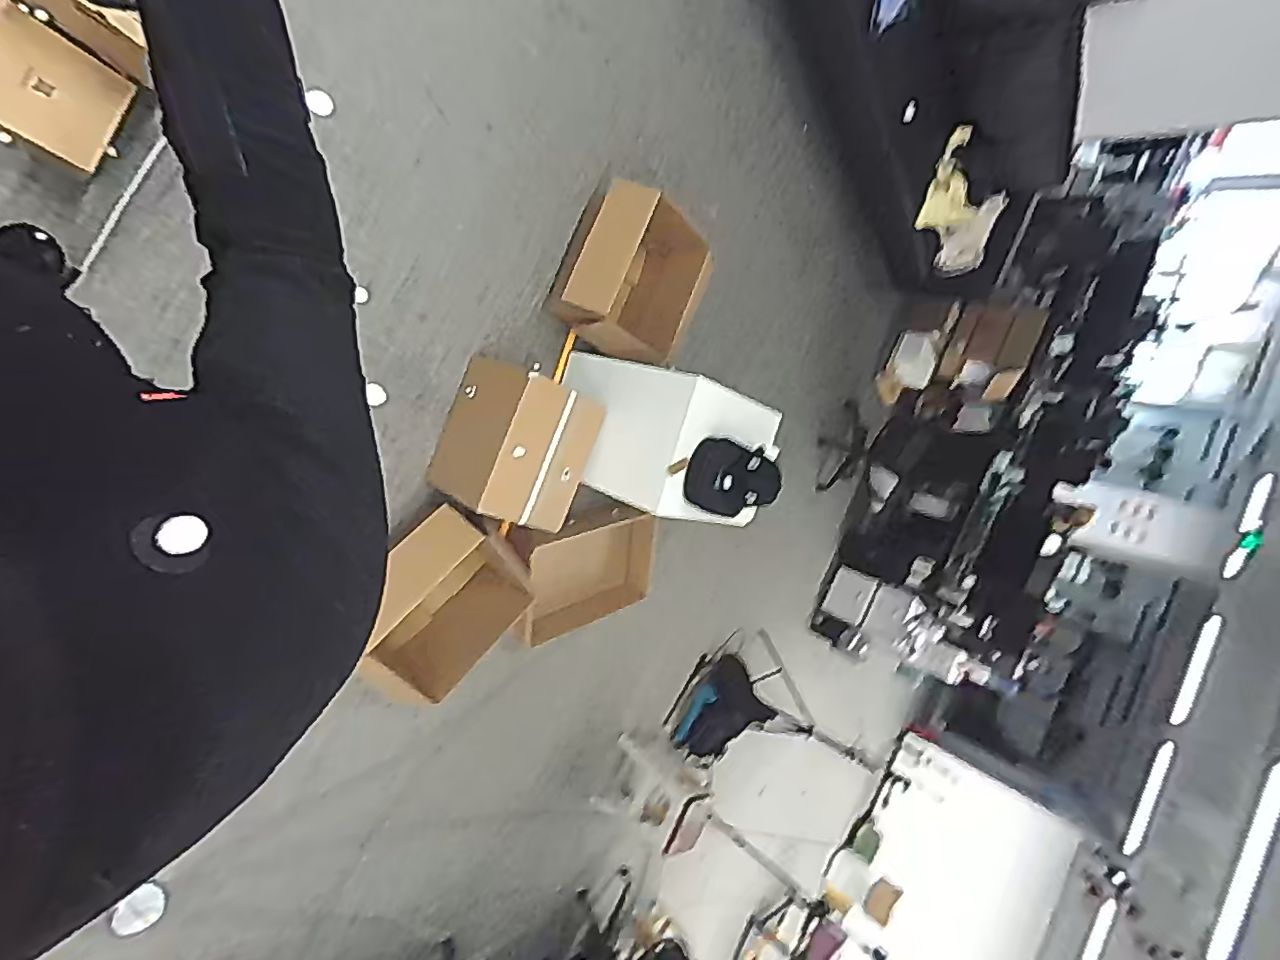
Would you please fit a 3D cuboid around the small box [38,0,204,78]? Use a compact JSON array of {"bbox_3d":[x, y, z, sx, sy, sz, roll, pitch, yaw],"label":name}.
[{"bbox_3d":[-0.756,-0.733,0.784,0.168,0.176,0.179,29,83,-51],"label":"small box"}]
